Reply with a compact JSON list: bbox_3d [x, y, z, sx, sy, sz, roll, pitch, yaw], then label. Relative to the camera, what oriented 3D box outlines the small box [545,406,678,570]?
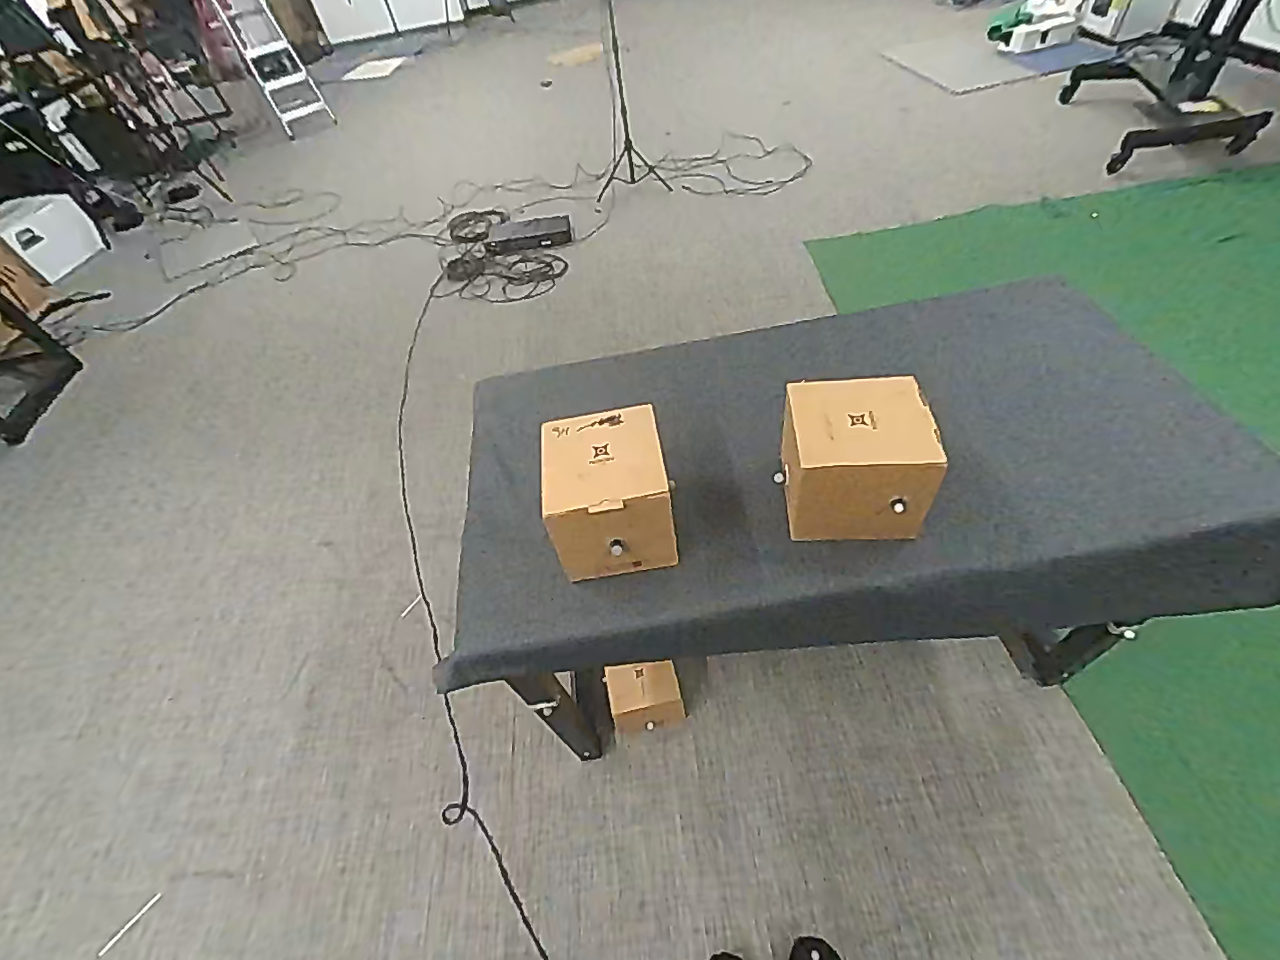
[{"bbox_3d":[-0.039,0.019,0.800,0.168,0.176,0.179,-8,50,1],"label":"small box"}]

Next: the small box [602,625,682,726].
[{"bbox_3d":[0.006,0.492,1.356,0.168,0.176,0.179,-12,51,-1],"label":"small box"}]

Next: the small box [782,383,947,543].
[{"bbox_3d":[0.306,-0.020,0.781,0.179,0.176,0.168,-2,50,9],"label":"small box"}]
